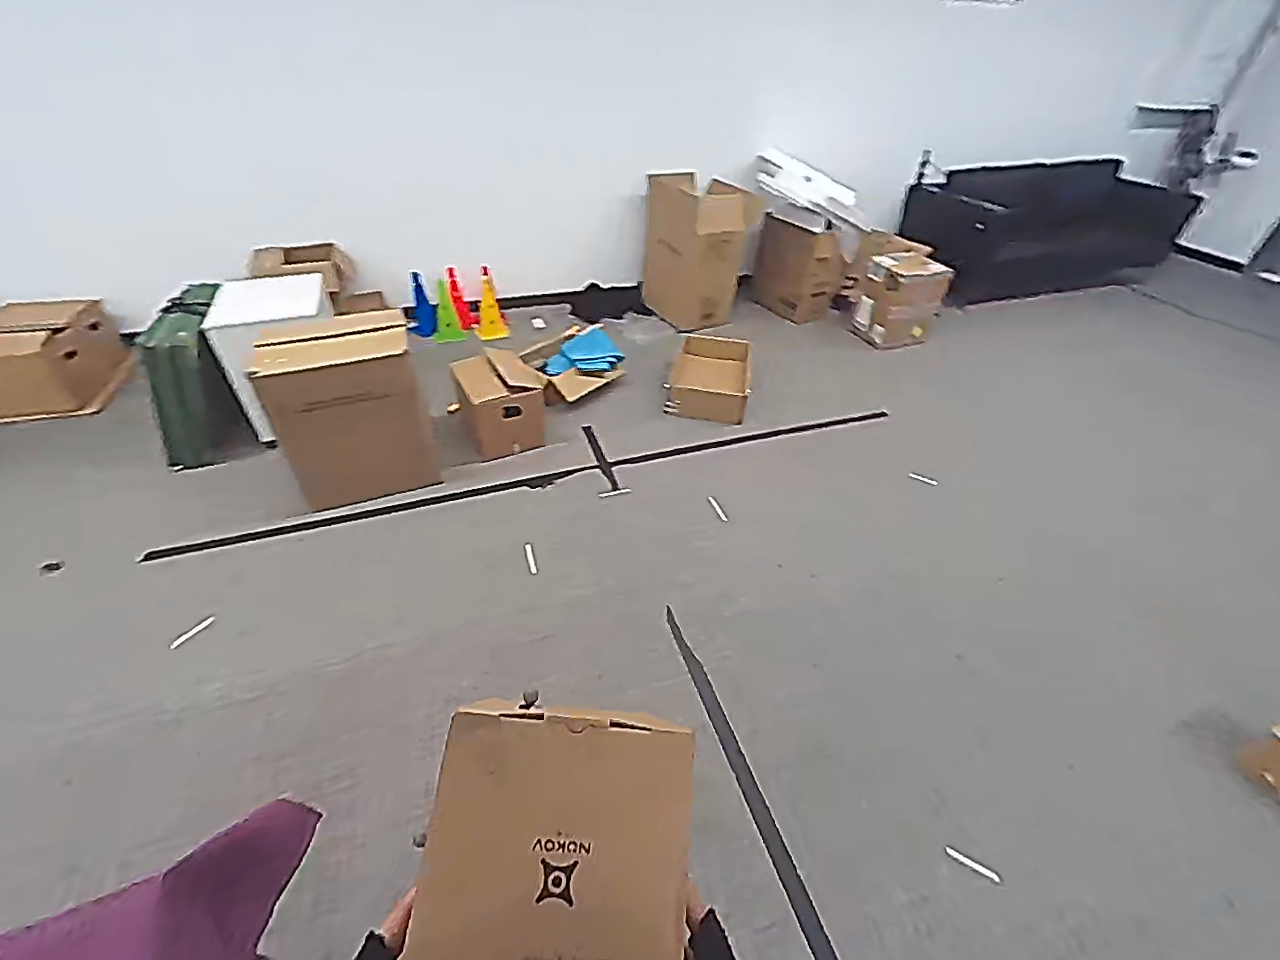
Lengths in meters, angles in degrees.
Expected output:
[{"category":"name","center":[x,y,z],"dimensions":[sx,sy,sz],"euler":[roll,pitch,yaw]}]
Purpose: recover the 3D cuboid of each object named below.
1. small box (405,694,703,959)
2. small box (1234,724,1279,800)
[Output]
[{"category":"small box","center":[-0.057,0.262,0.405],"dimensions":[0.168,0.176,0.179],"euler":[9,69,-4]},{"category":"small box","center":[1.801,0.760,1.467],"dimensions":[0.179,0.176,0.168],"euler":[-13,41,-16]}]
